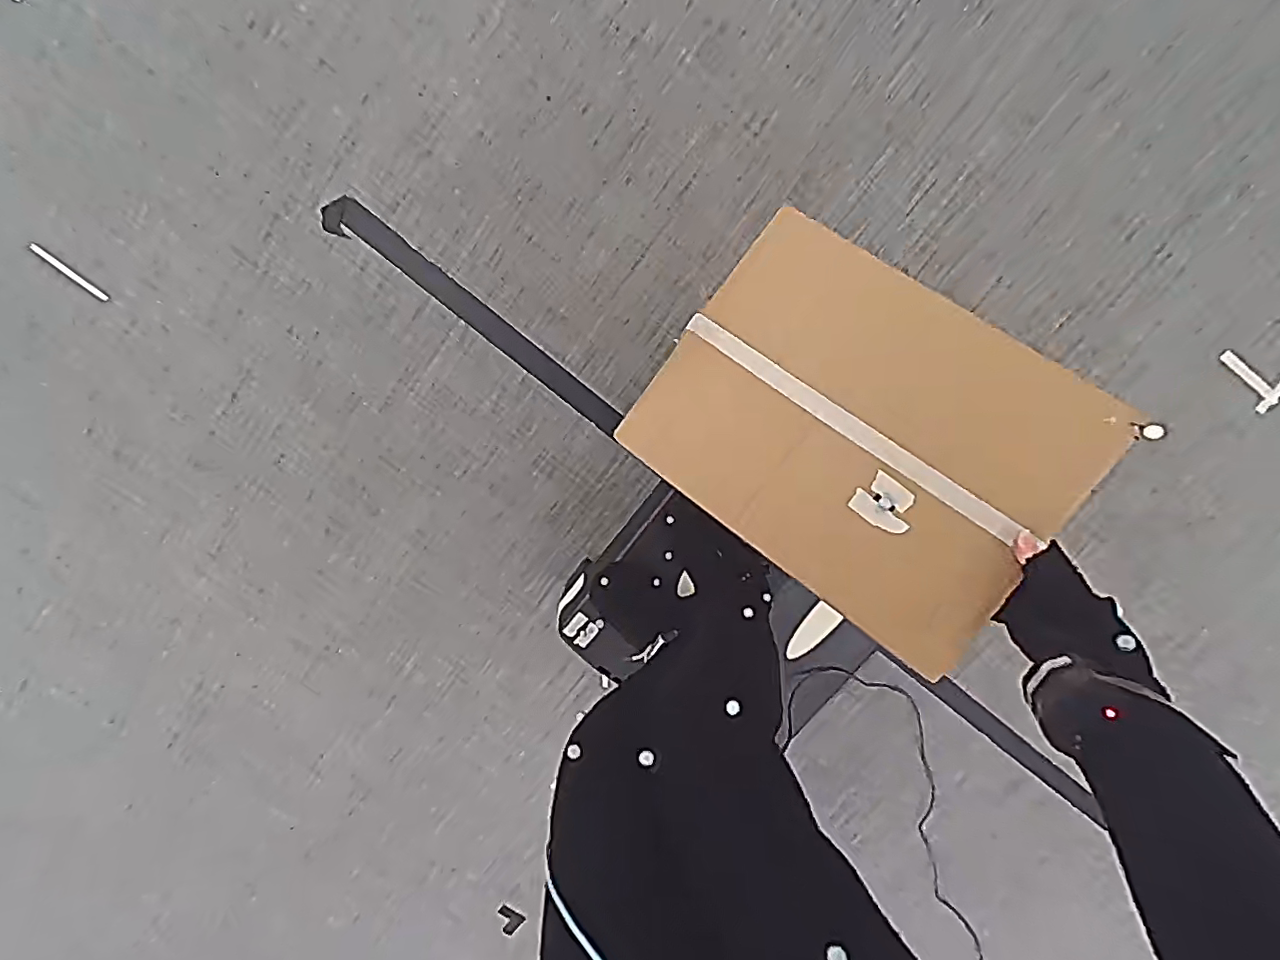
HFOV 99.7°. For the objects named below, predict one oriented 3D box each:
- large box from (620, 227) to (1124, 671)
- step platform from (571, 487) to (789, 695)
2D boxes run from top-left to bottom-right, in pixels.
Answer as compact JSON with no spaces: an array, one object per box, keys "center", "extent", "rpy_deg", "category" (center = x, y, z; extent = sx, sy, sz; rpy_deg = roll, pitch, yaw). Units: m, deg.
[{"center":[0.247,-0.035,0.707],"extent":[0.408,0.320,0.320],"rpy_deg":[37,95,12],"category":"large box"},{"center":[0.161,0.067,1.024],"extent":[0.286,0.204,0.684],"rpy_deg":[36,99,-8],"category":"step platform"}]
